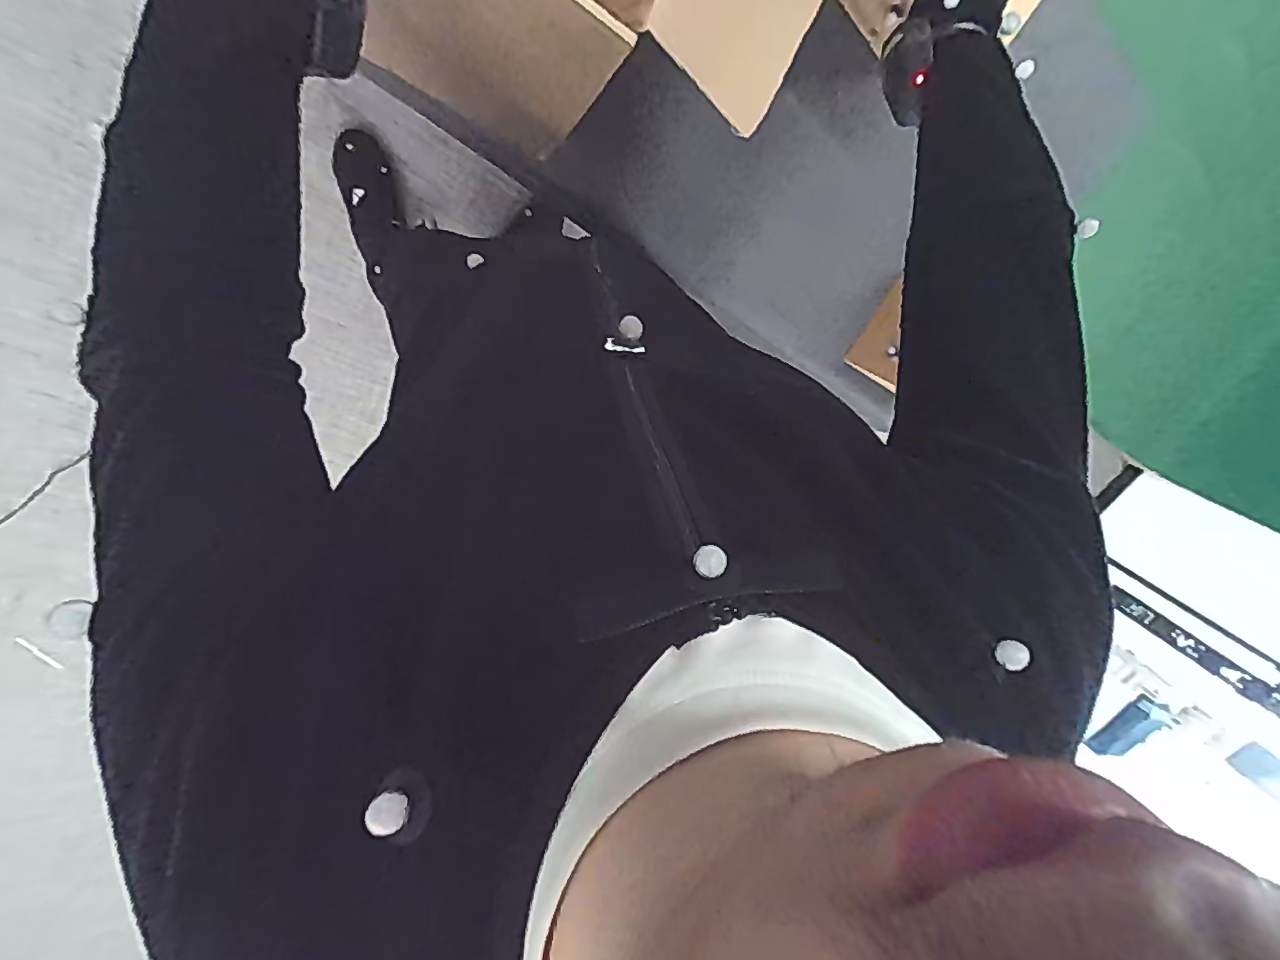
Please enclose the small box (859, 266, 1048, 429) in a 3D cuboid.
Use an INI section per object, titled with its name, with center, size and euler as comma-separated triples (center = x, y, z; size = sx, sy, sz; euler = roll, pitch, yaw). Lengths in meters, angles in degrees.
[small box]
center = 0.485, -0.214, 0.868
size = 0.168, 0.176, 0.179
euler = 20, 111, -30
